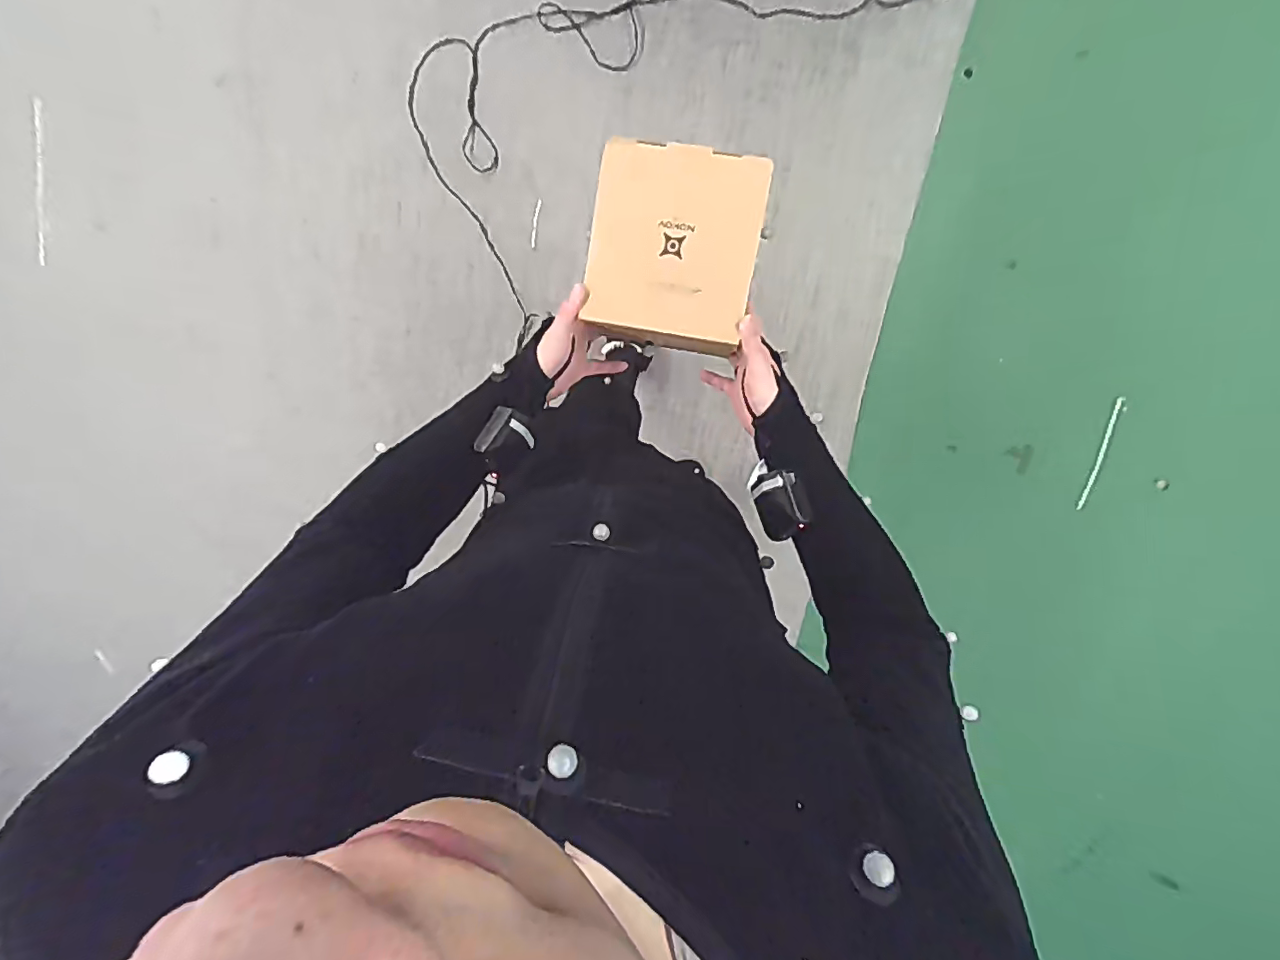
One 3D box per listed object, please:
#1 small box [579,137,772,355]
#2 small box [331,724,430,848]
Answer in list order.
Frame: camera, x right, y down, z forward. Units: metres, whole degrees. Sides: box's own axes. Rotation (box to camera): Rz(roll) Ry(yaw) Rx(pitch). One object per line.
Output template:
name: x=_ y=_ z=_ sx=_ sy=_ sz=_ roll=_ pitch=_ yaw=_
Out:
small box: x=0.037 y=-0.245 z=0.610 sx=0.168 sy=0.176 sz=0.179 roll=10 pitch=101 yaw=3
small box: x=-0.634 y=0.736 z=1.310 sx=0.168 sy=0.176 sz=0.179 roll=19 pitch=101 yaw=0
